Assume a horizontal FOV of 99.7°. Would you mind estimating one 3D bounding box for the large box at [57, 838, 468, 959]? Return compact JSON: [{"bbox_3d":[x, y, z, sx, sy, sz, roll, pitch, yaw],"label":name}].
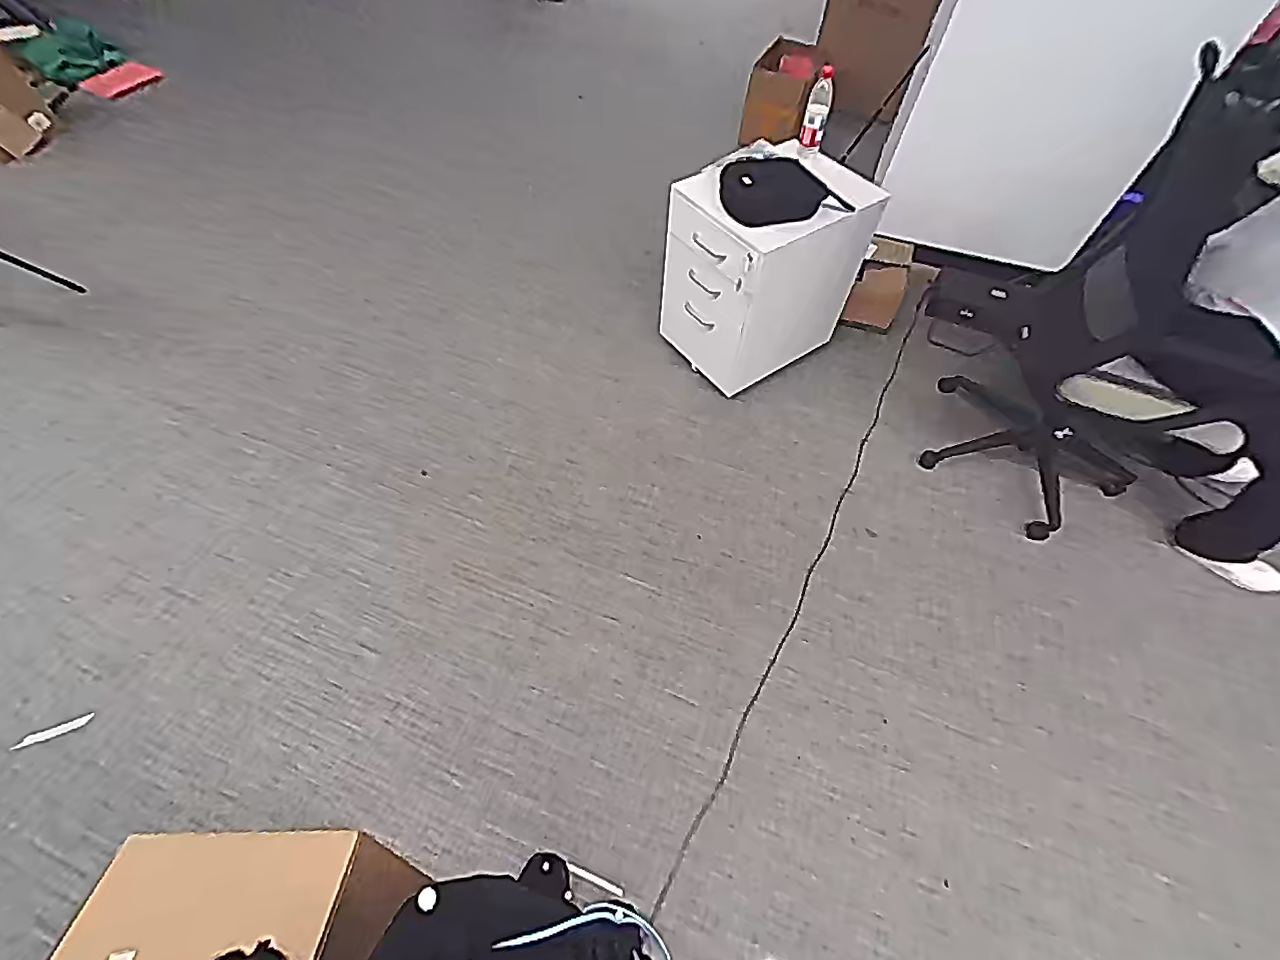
[{"bbox_3d":[-0.468,0.679,0.680,0.320,0.408,0.320,-3,42,8],"label":"large box"}]
